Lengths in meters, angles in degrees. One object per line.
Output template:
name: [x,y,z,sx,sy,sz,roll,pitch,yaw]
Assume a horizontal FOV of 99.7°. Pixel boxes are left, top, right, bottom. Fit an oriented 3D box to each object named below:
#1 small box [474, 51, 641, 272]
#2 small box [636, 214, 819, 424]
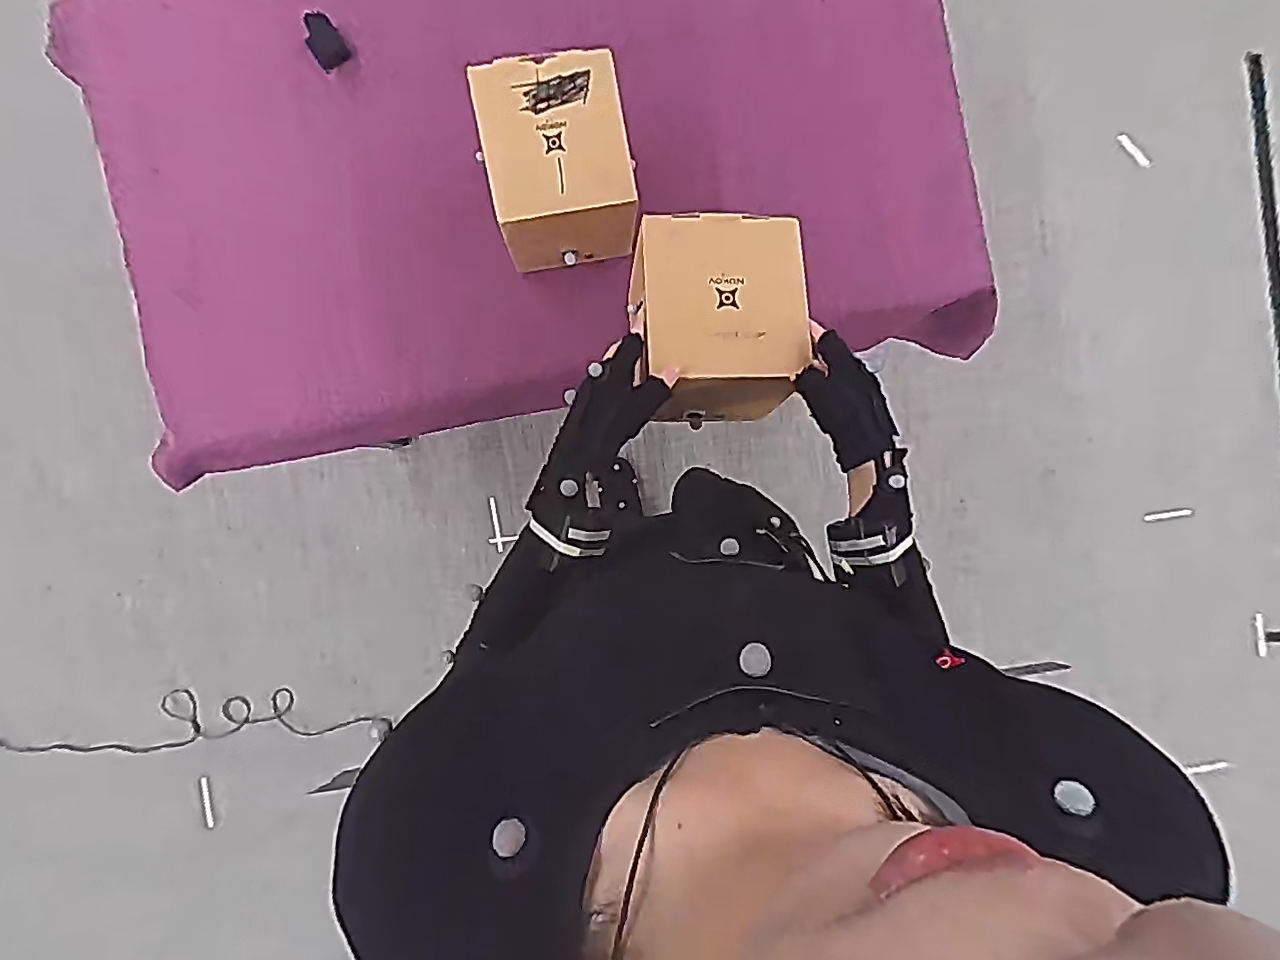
small box: [-0.099,-0.392,0.694,0.168,0.176,0.179,-11,93,-3]
small box: [0.085,-0.172,0.616,0.168,0.176,0.179,-2,81,-5]
